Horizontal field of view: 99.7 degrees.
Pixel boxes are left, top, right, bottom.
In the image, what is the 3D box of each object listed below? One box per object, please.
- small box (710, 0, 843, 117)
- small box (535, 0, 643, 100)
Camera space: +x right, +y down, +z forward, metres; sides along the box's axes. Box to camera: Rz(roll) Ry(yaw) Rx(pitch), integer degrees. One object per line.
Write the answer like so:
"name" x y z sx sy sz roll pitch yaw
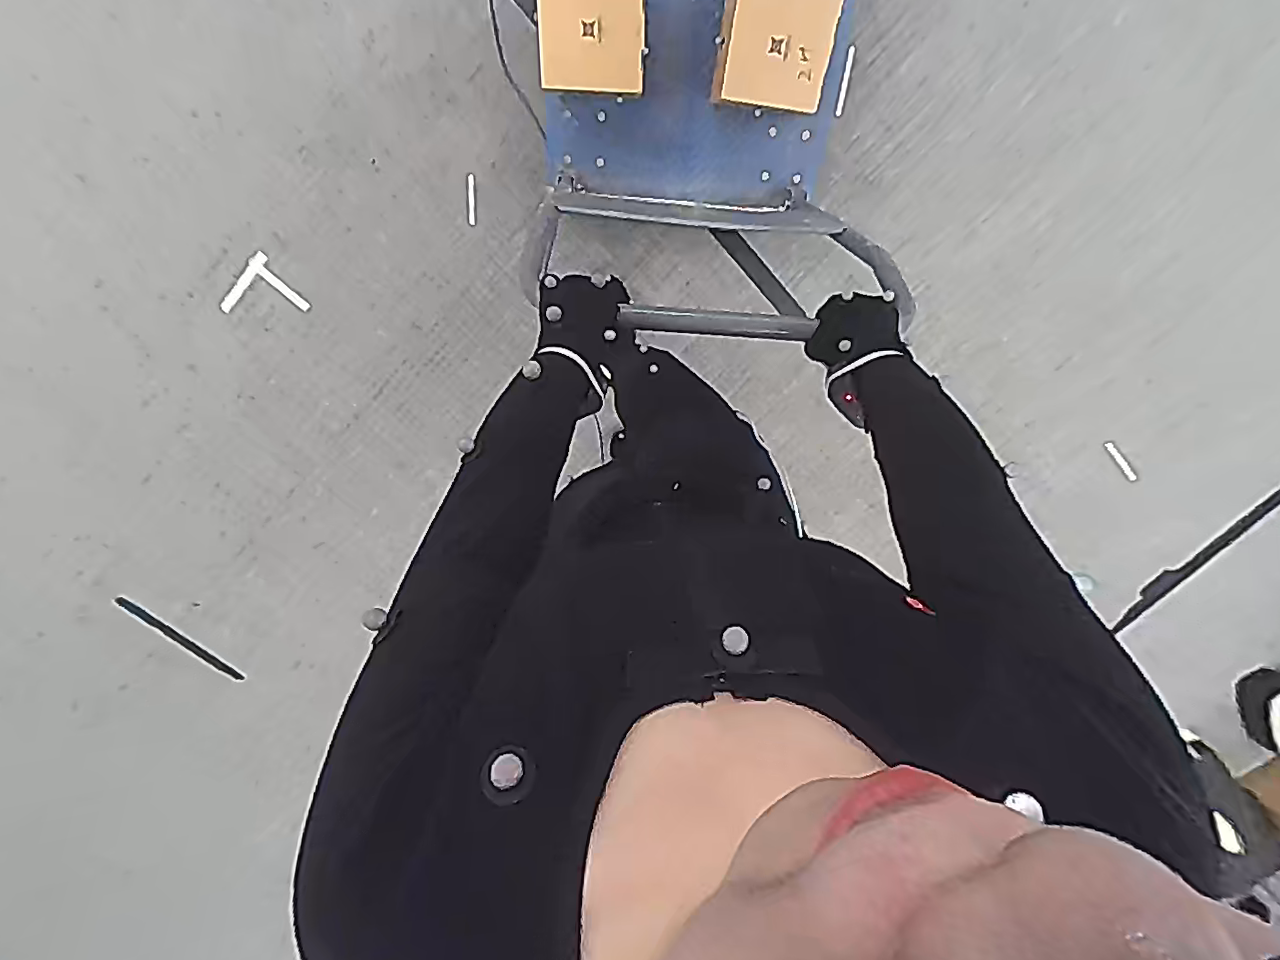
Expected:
"small box" 0.231 -0.763 0.971 0.179 0.176 0.168 5 123 -5
"small box" -0.085 -0.777 0.954 0.179 0.176 0.168 0 123 -3
